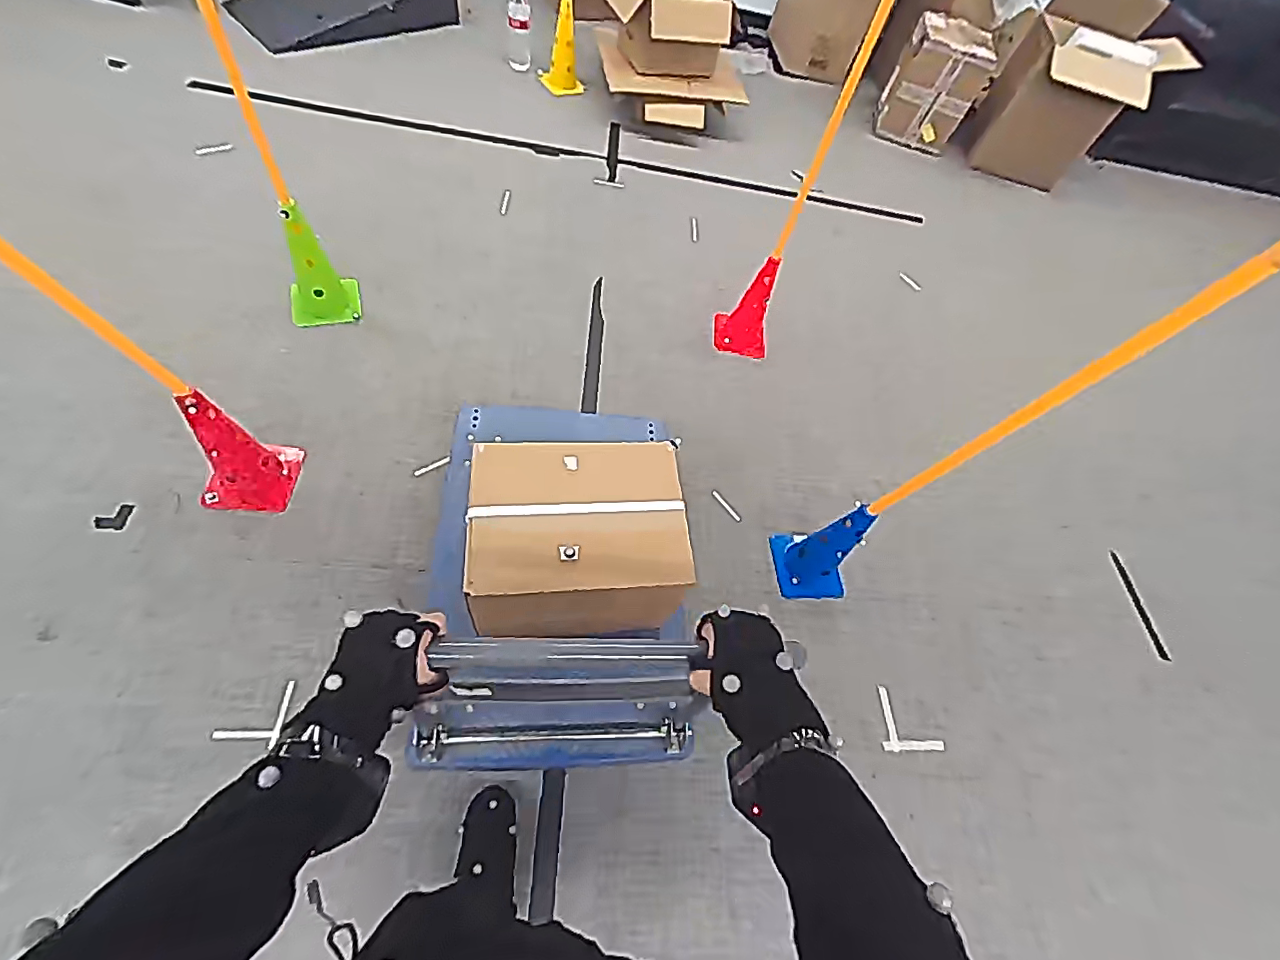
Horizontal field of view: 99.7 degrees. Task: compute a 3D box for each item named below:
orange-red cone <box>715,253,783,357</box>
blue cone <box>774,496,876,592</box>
[{"bbox_3d":[0.417,-0.637,1.898,0.199,0.360,0.198,12,59,-6],"label":"orange-red cone"},{"bbox_3d":[0.530,0.158,1.469,0.193,0.380,0.192,2,58,-11],"label":"blue cone"}]
